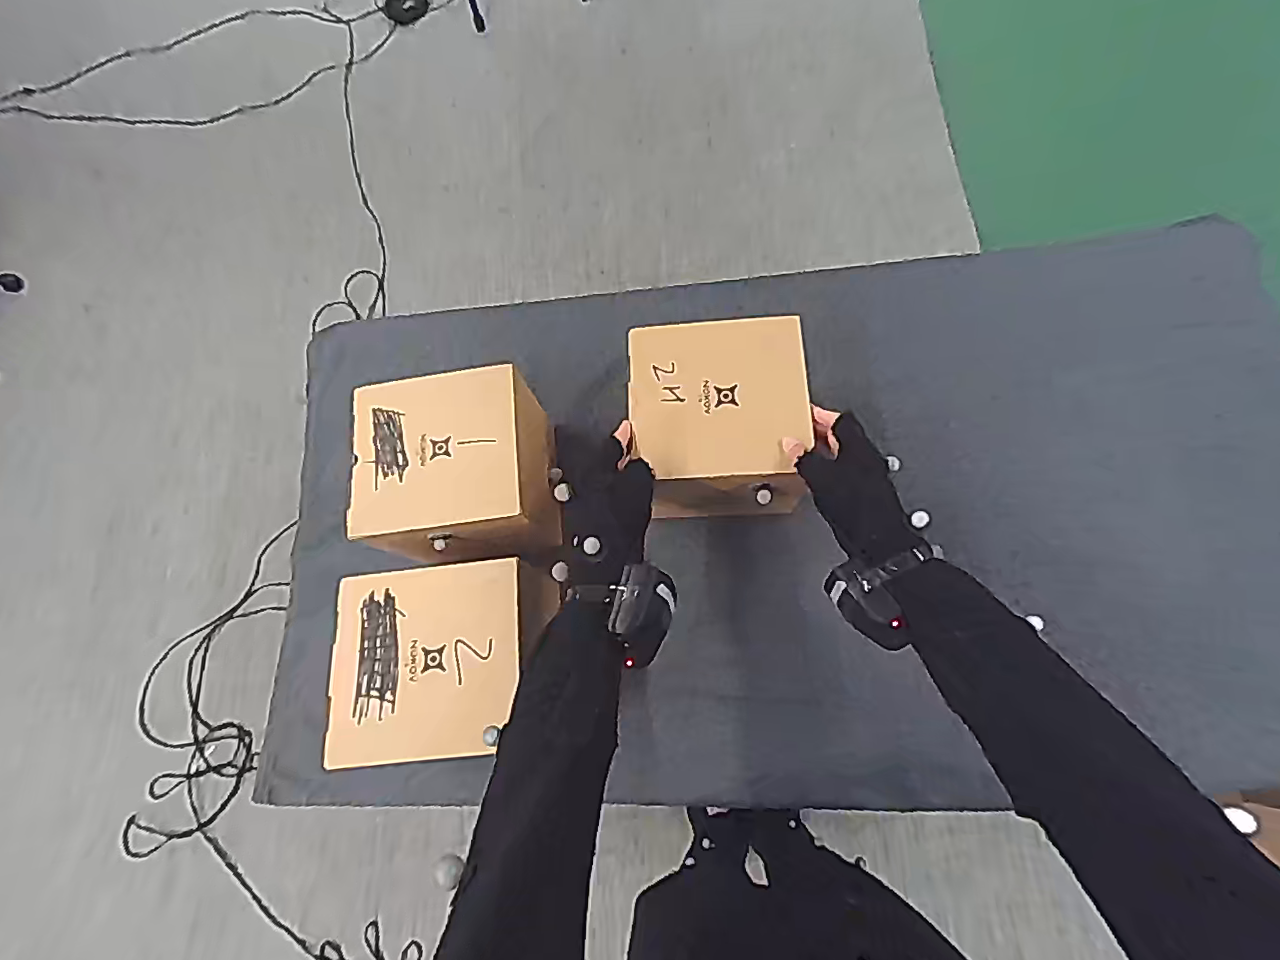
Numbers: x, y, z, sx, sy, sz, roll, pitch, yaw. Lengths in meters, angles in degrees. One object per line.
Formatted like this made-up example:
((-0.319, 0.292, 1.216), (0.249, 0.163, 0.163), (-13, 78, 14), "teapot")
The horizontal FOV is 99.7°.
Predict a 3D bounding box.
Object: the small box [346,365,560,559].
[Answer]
((-0.201, -0.009, 0.621), (0.179, 0.176, 0.168), (-8, 73, 4), "small box")
